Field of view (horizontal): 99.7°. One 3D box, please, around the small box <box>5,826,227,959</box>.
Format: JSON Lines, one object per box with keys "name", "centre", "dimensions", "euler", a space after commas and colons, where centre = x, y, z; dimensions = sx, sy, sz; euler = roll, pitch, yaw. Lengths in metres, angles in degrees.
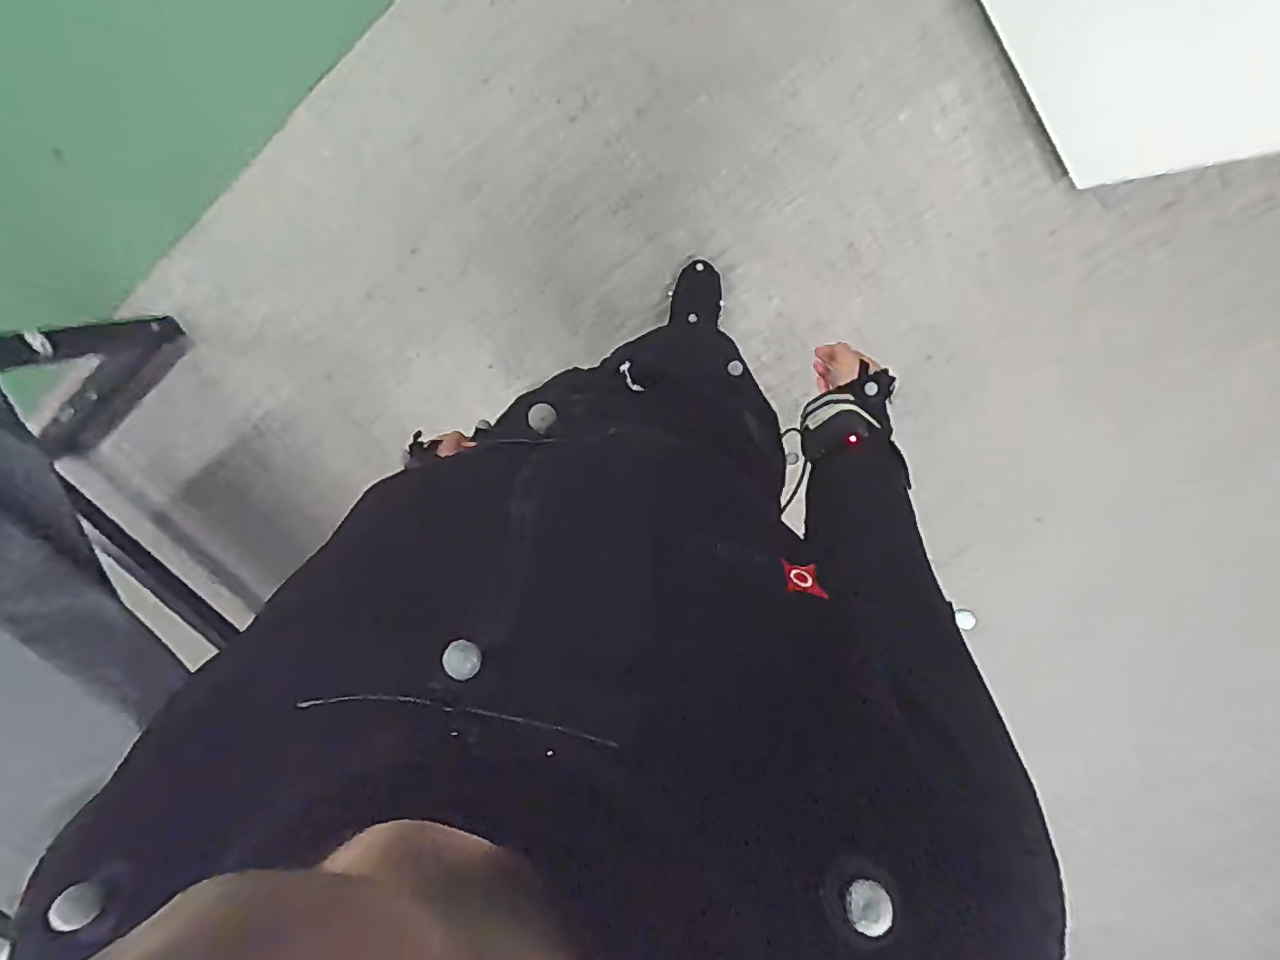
{"name": "small box", "centre": [-0.831, 0.711, 0.873], "dimensions": [0.179, 0.176, 0.168], "euler": [-35, 104, 15]}
